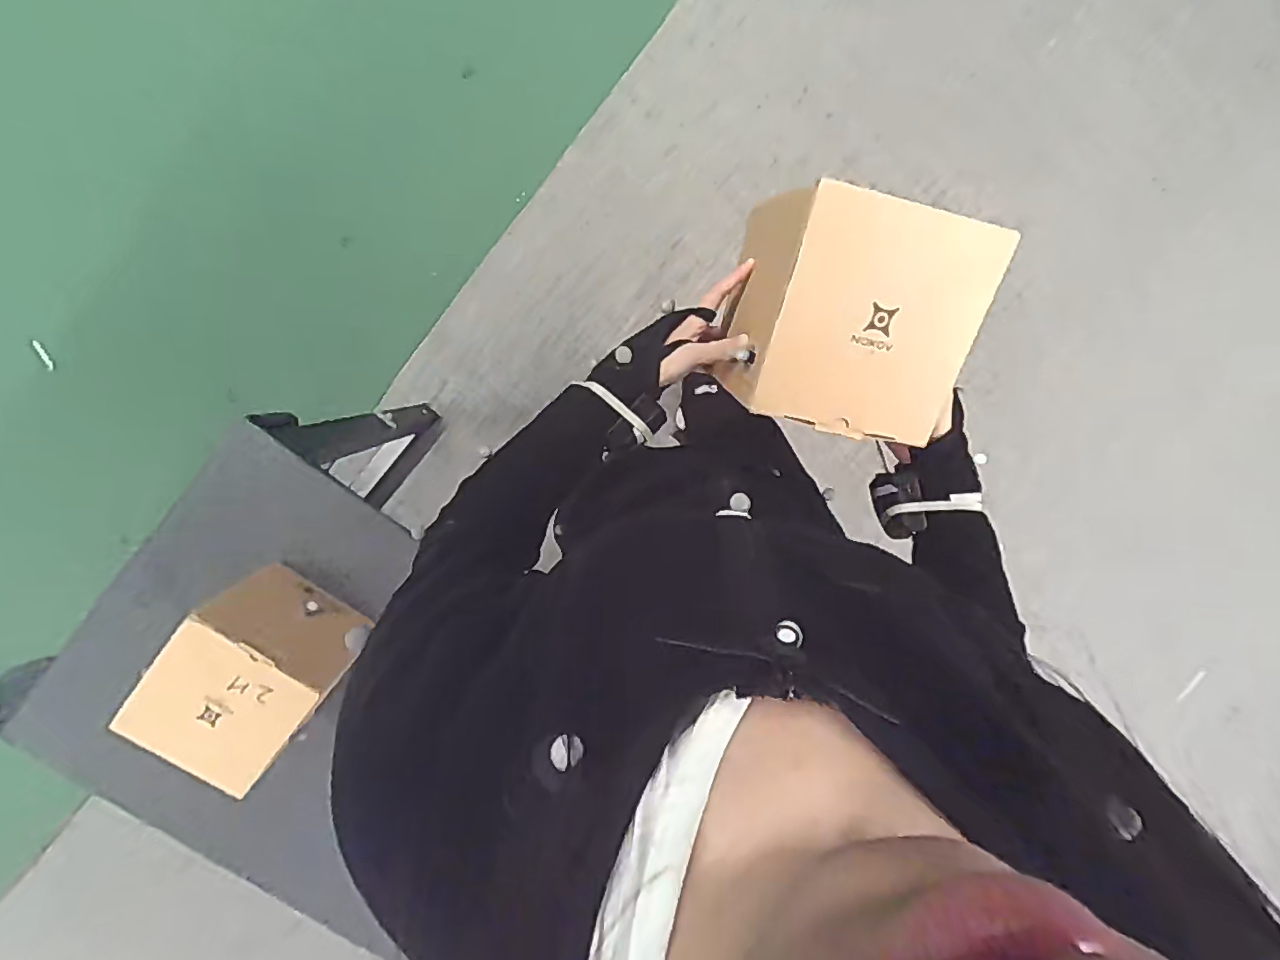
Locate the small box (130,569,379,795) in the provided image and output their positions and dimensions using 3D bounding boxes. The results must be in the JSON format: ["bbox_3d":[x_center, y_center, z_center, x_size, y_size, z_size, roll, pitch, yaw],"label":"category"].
[{"bbox_3d":[-0.478,0.249,0.703,0.168,0.176,0.179,38,97,-10],"label":"small box"}]

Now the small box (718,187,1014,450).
[{"bbox_3d":[0.182,-0.149,0.502,0.168,0.176,0.179,10,113,-8],"label":"small box"}]
